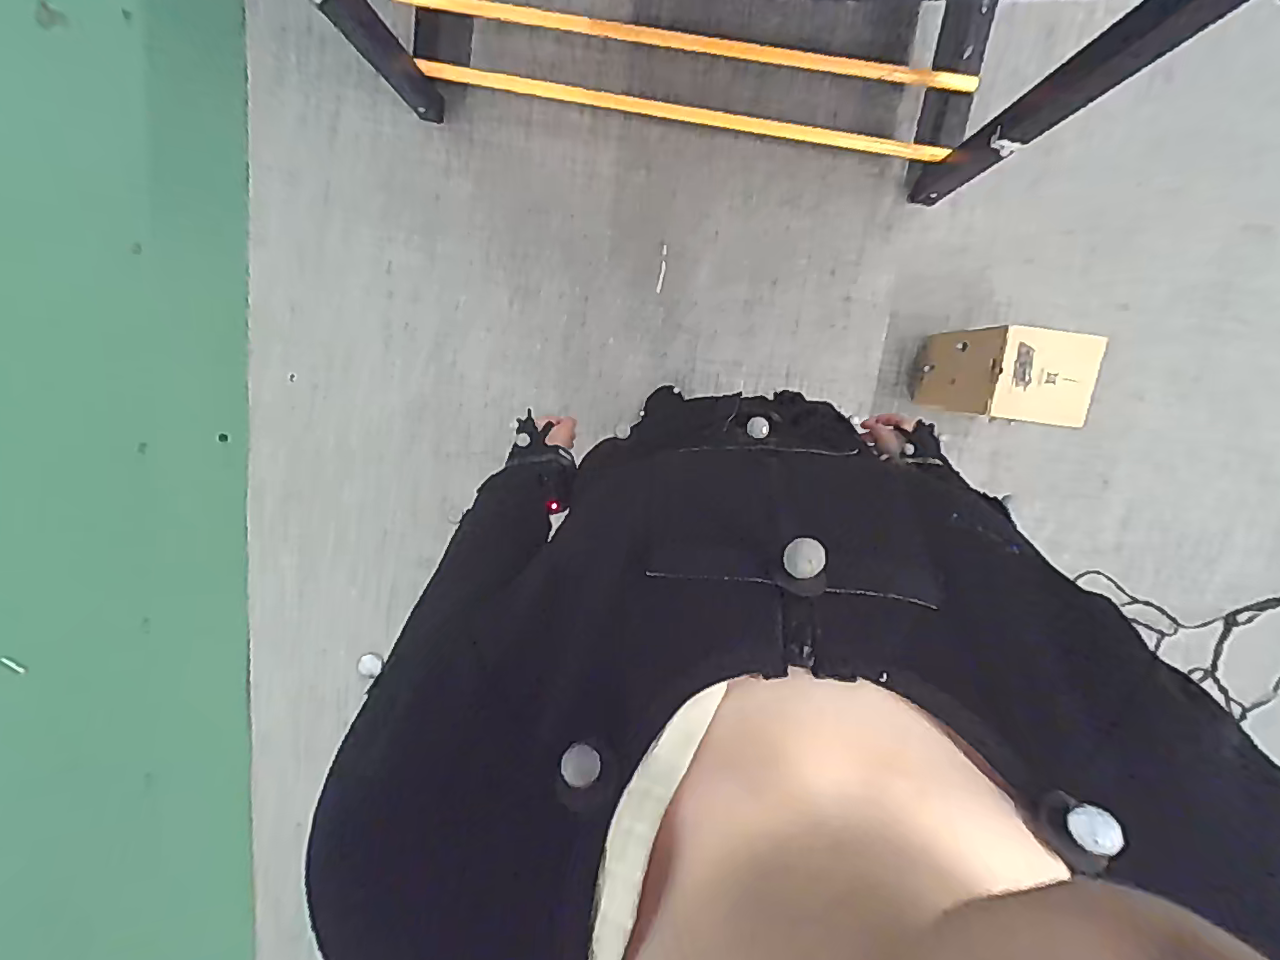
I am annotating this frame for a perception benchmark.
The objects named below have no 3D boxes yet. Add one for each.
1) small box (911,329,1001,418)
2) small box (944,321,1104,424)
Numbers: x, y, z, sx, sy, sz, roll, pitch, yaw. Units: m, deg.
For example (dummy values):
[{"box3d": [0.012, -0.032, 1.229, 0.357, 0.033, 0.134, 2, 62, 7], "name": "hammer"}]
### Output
[{"box3d": [0.746, -0.235, 1.210, 0.179, 0.176, 0.168, 10, 100, 0], "name": "small box"}, {"box3d": [0.728, -0.204, 1.049, 0.179, 0.176, 0.168, 7, 101, 0], "name": "small box"}]
